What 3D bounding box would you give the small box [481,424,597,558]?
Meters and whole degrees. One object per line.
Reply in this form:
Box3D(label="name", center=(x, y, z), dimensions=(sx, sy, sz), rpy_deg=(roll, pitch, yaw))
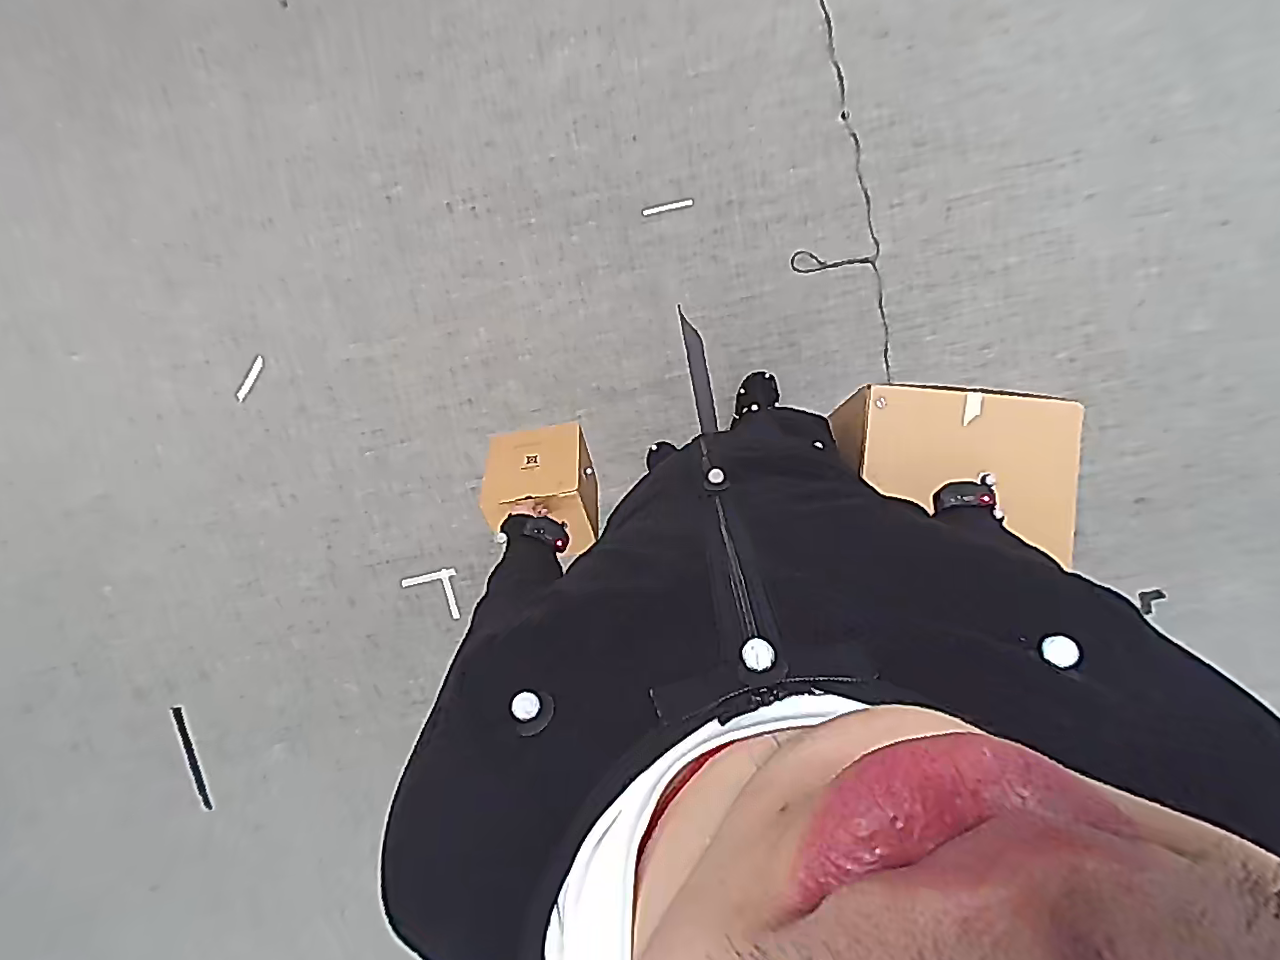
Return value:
Box3D(label="small box", center=(-0.173, 0.027, 0.985), dimensions=(0.168, 0.179, 0.176), rpy_deg=(-8, 135, 2))
